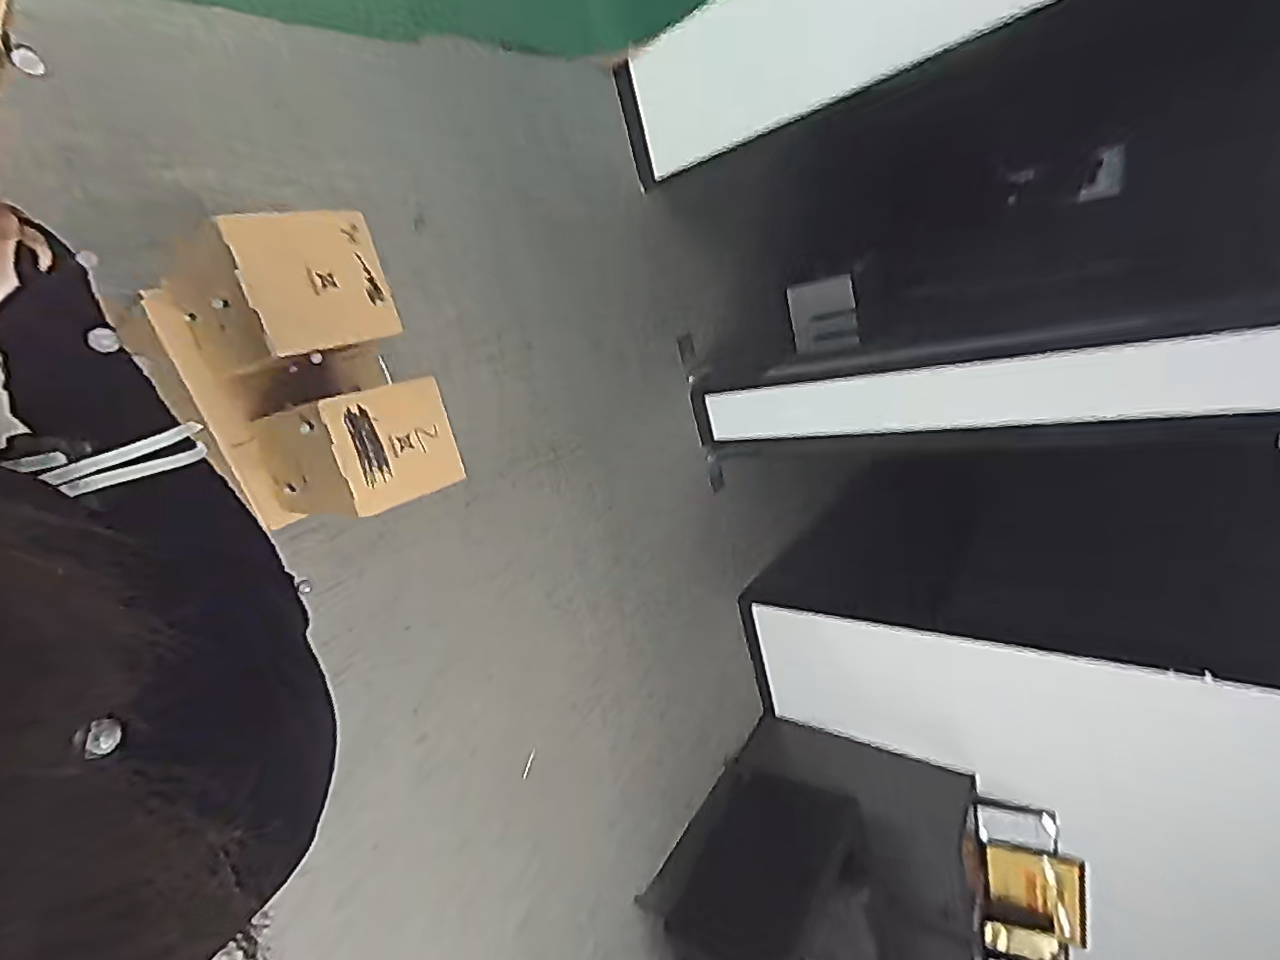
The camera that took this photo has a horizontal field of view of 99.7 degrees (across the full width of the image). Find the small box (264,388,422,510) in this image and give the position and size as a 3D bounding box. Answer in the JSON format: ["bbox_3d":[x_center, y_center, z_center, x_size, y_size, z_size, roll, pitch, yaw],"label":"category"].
[{"bbox_3d":[-0.522,-0.053,0.943,0.179,0.176,0.168,-29,111,-46],"label":"small box"}]

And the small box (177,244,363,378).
[{"bbox_3d":[-0.588,-0.267,0.863,0.179,0.176,0.168,-31,115,-43],"label":"small box"}]
